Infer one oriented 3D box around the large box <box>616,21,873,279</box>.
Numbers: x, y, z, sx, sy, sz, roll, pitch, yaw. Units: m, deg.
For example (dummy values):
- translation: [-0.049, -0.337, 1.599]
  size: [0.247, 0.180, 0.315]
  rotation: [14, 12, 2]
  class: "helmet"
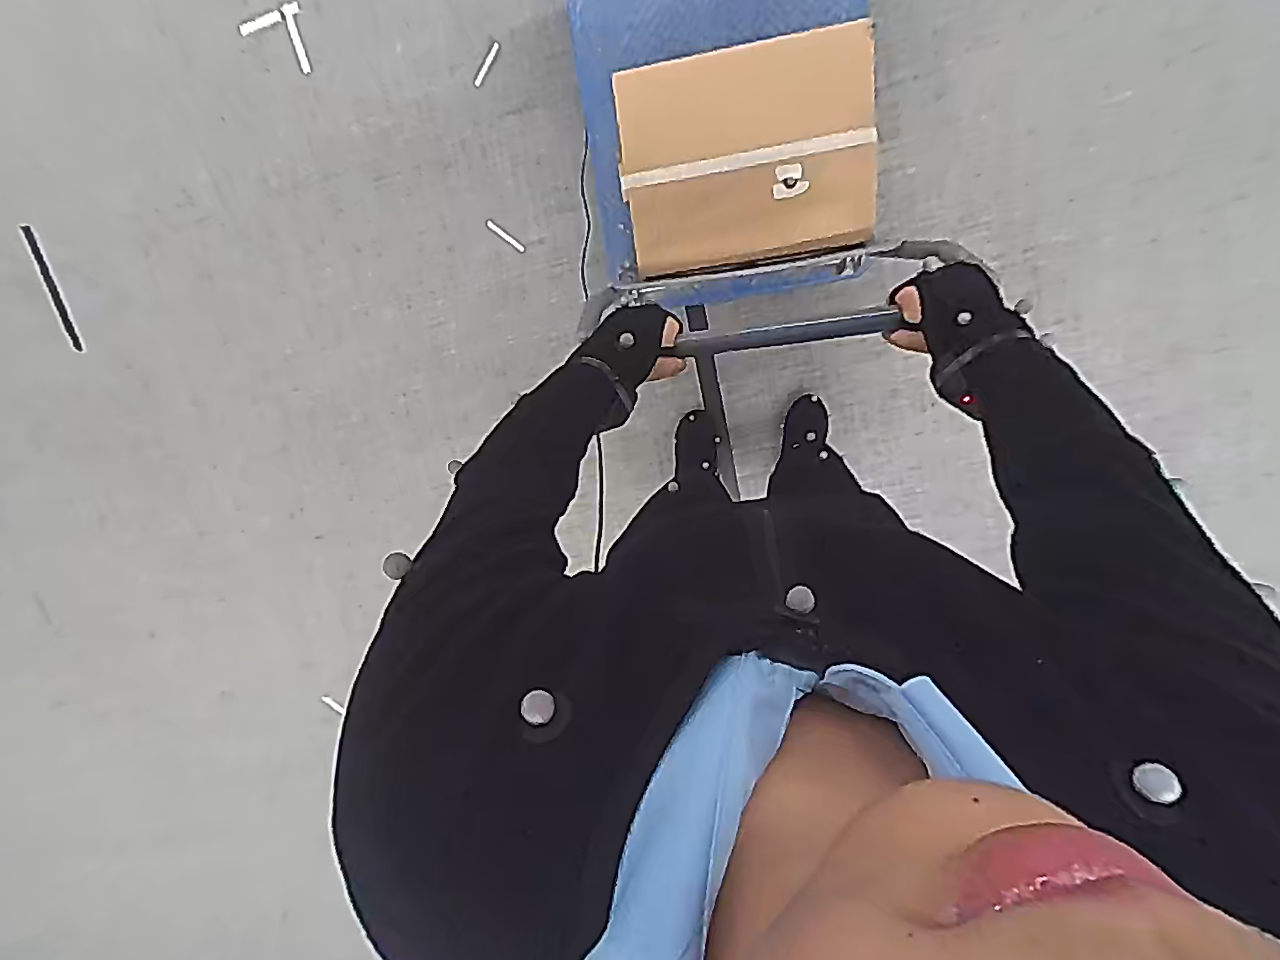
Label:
- translation: [0.189, -0.584, 1.040]
  size: [0.408, 0.320, 0.320]
  rotation: [-7, 110, 7]
  class: "large box"
